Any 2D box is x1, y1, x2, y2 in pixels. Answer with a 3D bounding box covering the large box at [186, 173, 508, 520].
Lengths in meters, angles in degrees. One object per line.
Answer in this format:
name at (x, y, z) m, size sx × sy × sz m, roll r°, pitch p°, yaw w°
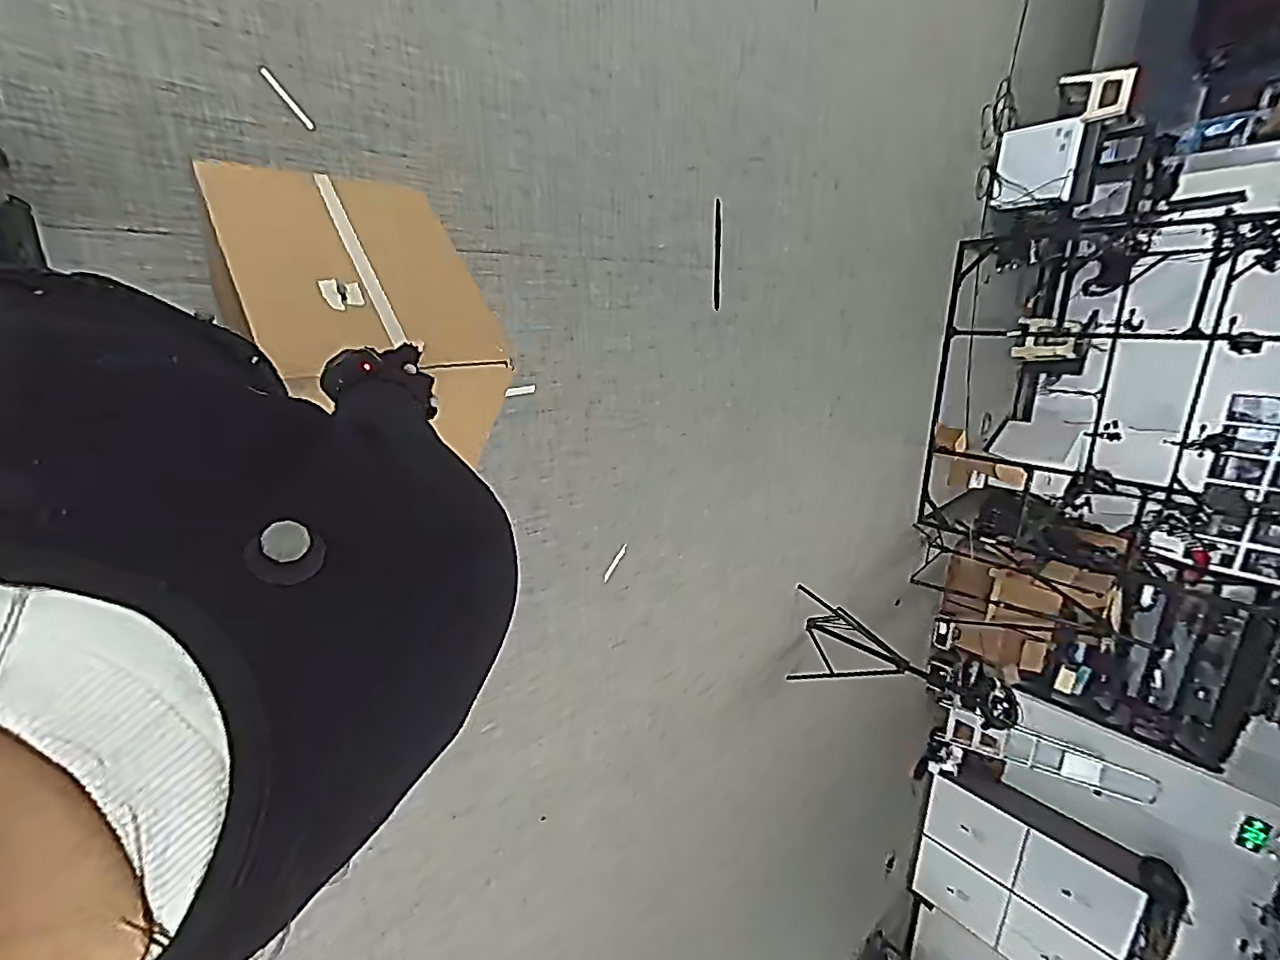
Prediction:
large box at (-0.471, -0.207, 0.870) m, size 0.320 × 0.408 × 0.320 m, roll -16°, pitch 156°, yaw -38°
